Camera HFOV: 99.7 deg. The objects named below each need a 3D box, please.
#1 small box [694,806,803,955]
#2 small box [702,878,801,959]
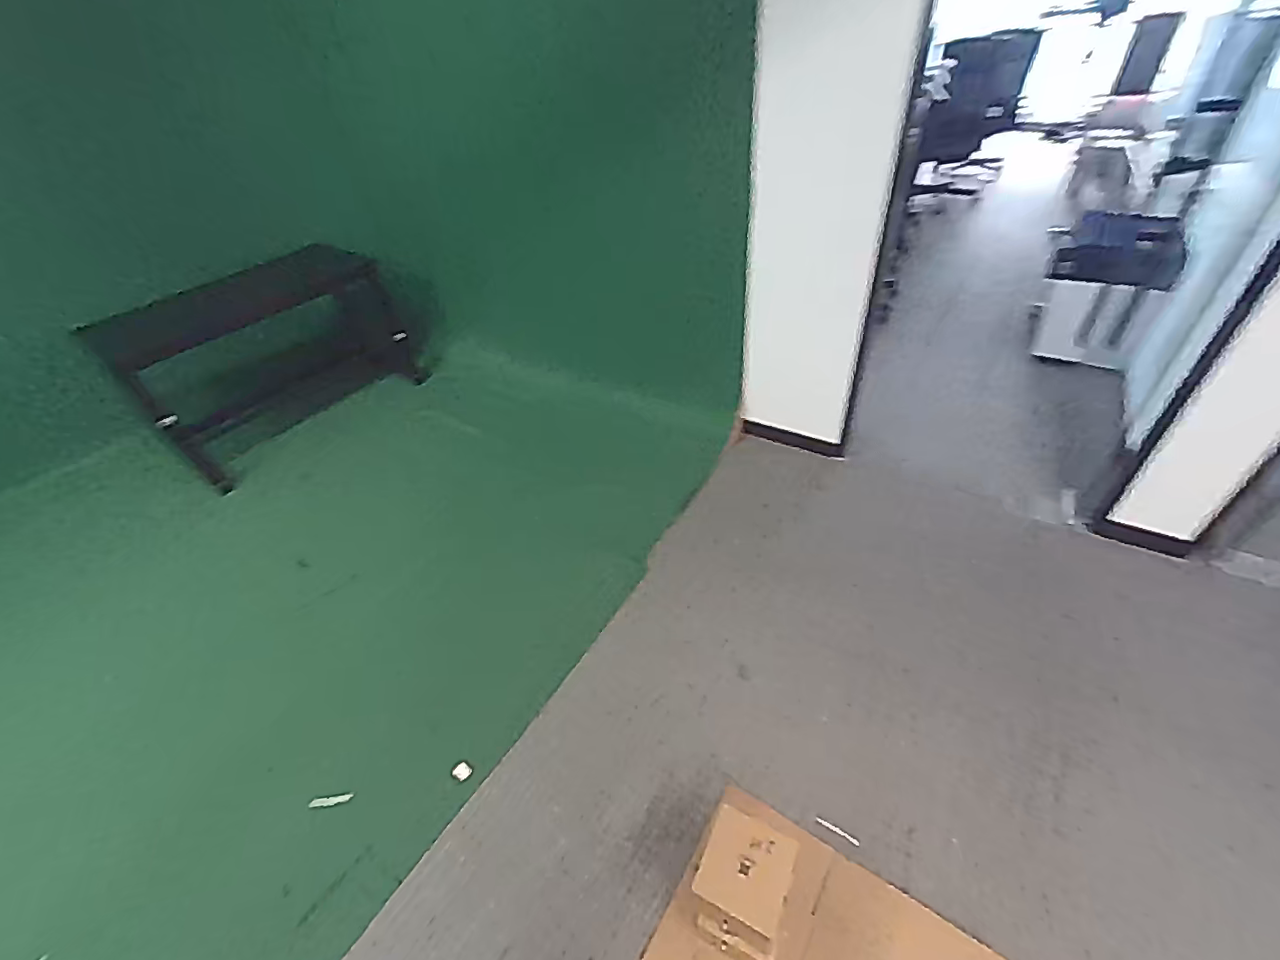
[{"bbox_3d":[0.221,0.821,1.108,0.168,0.176,0.179,18,47,23],"label":"small box"},{"bbox_3d":[0.244,0.959,1.200,0.168,0.176,0.179,16,46,24],"label":"small box"}]
